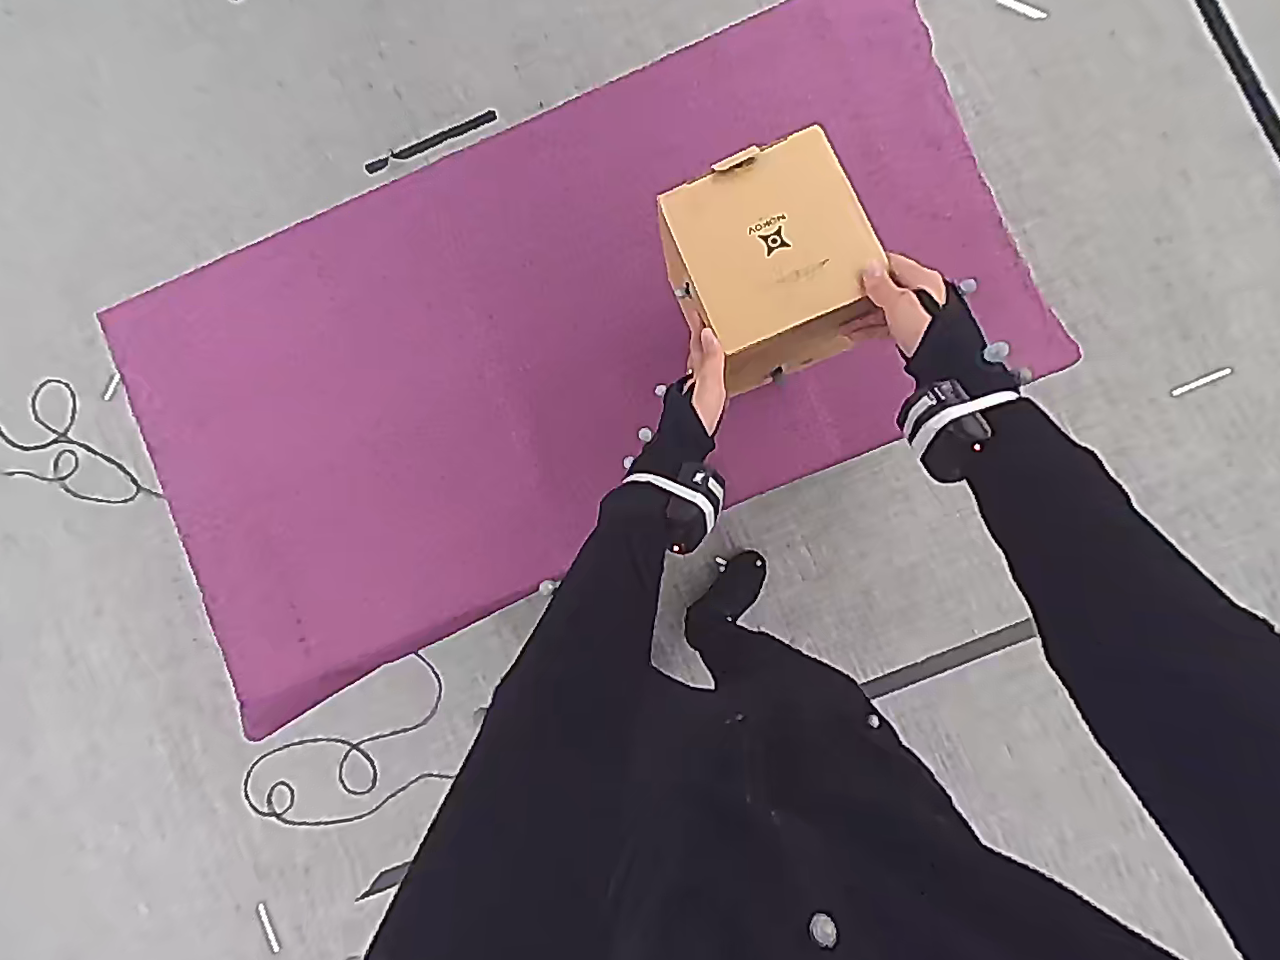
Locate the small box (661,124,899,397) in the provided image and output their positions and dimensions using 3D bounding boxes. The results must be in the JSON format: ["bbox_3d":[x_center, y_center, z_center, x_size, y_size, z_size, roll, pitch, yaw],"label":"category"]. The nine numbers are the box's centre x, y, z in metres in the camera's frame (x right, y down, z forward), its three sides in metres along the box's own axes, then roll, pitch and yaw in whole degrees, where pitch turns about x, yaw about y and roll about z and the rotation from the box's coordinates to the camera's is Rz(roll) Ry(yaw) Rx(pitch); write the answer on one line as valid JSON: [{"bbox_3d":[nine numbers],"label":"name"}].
[{"bbox_3d":[0.131,-0.211,0.566,0.168,0.176,0.179,-21,81,5],"label":"small box"}]
